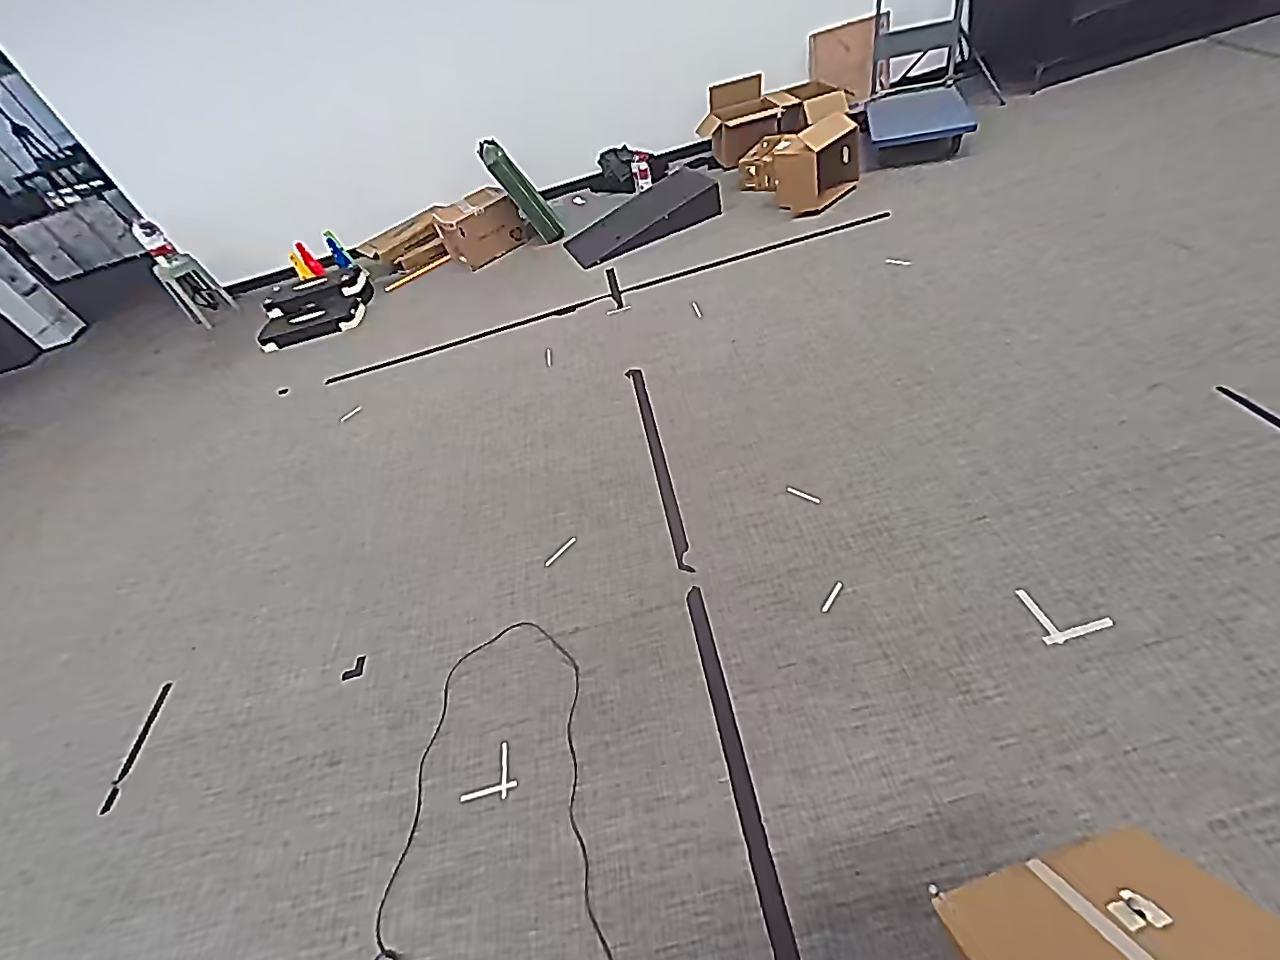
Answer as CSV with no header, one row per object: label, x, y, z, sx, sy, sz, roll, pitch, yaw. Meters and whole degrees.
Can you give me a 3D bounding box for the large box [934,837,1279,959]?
large box,0.611,0.684,0.570,0.320,0.408,0.320,-19,82,1
